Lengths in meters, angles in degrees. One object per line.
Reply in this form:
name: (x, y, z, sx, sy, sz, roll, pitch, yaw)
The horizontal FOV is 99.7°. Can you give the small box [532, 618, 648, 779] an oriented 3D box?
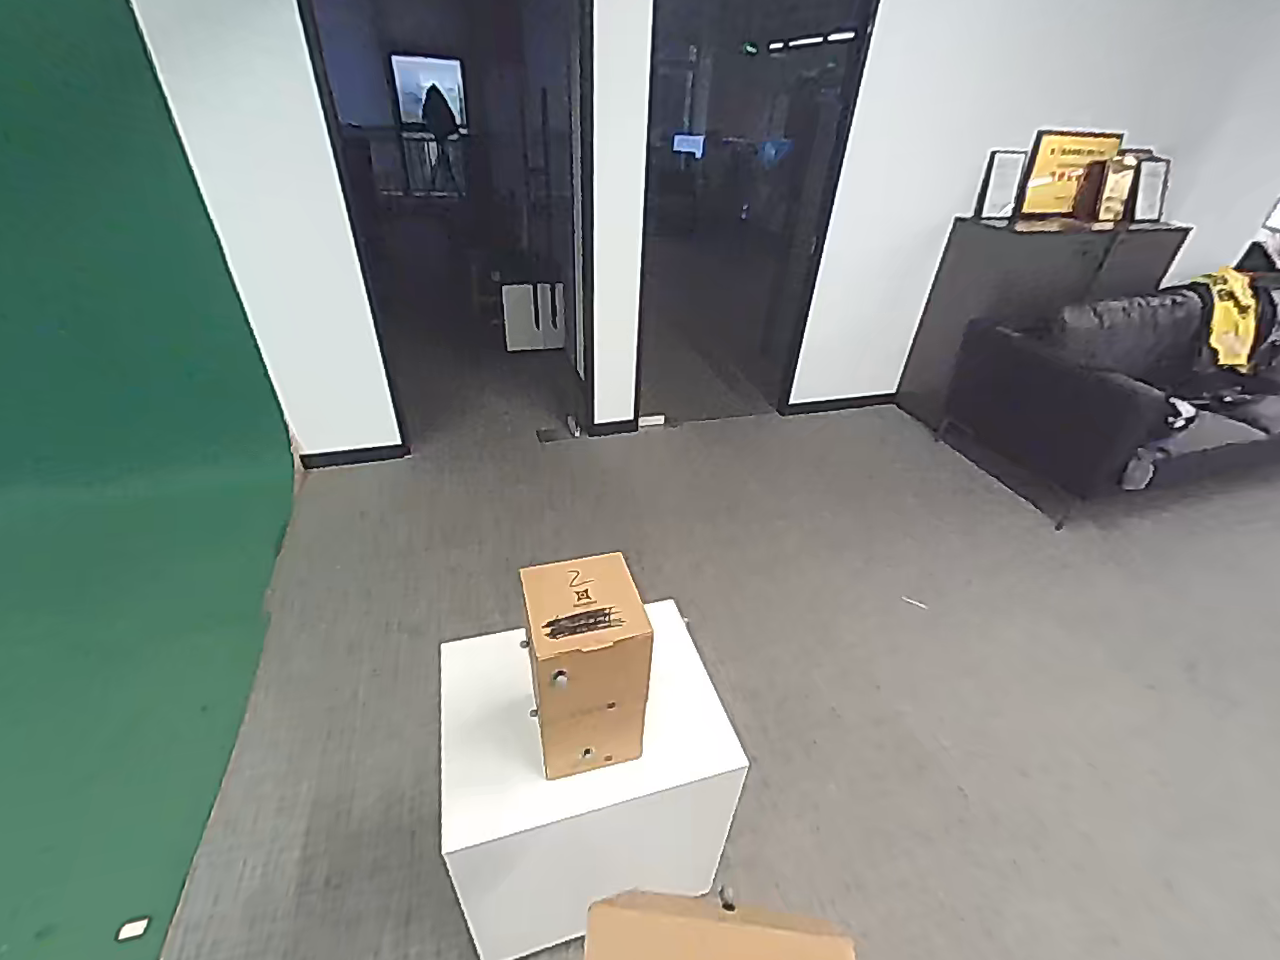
small box: (-0.093, 0.369, 0.925, 0.168, 0.176, 0.179, -7, 35, -15)
